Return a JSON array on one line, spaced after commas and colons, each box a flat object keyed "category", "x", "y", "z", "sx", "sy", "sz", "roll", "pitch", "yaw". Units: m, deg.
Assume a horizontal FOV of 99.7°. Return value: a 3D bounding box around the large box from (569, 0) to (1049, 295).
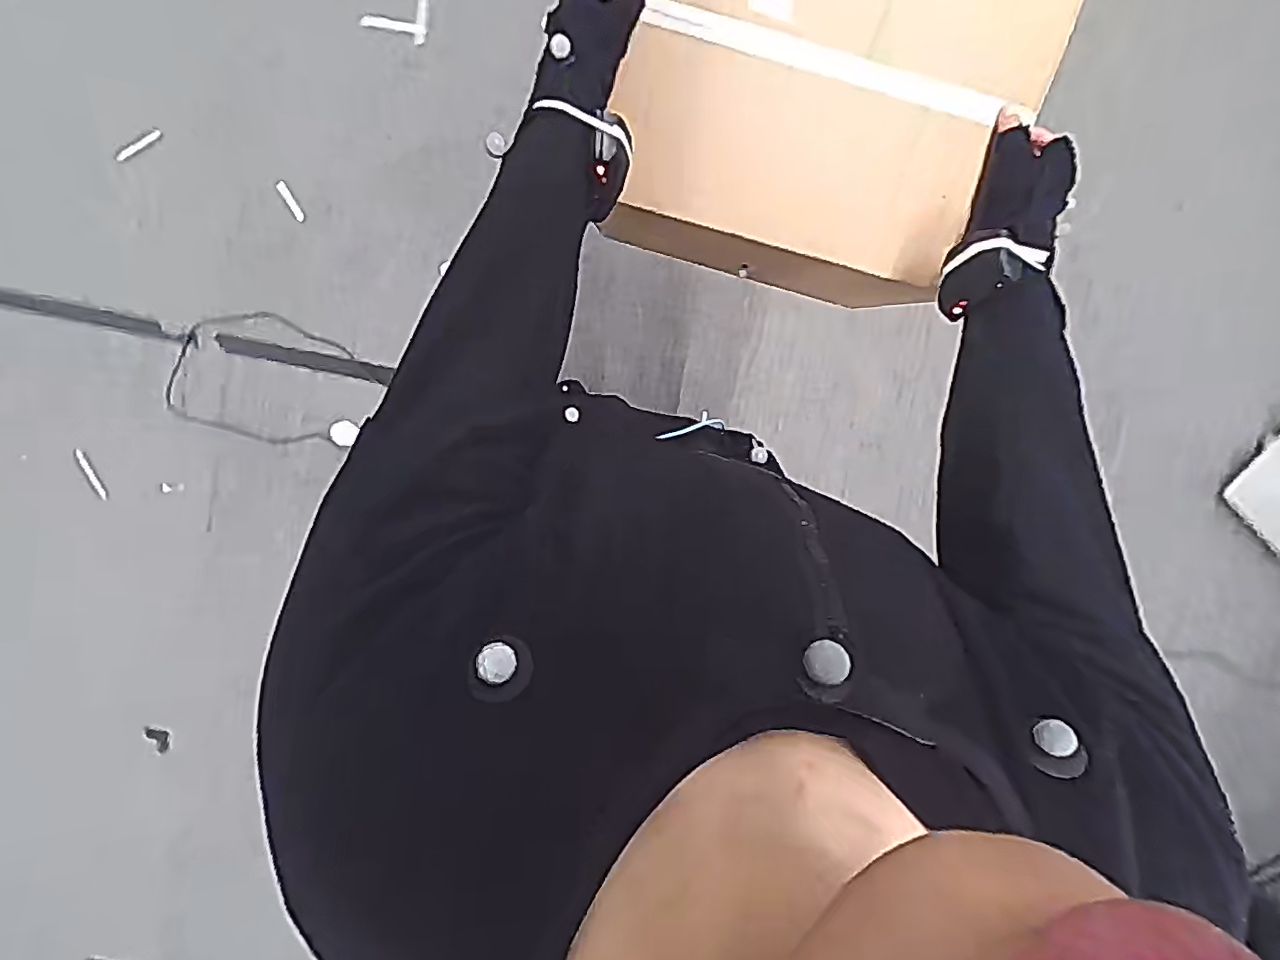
[{"category": "large box", "x": 0.158, "y": -0.426, "z": 0.649, "sx": 0.408, "sy": 0.320, "sz": 0.320, "roll": 13, "pitch": 105, "yaw": -3}]
